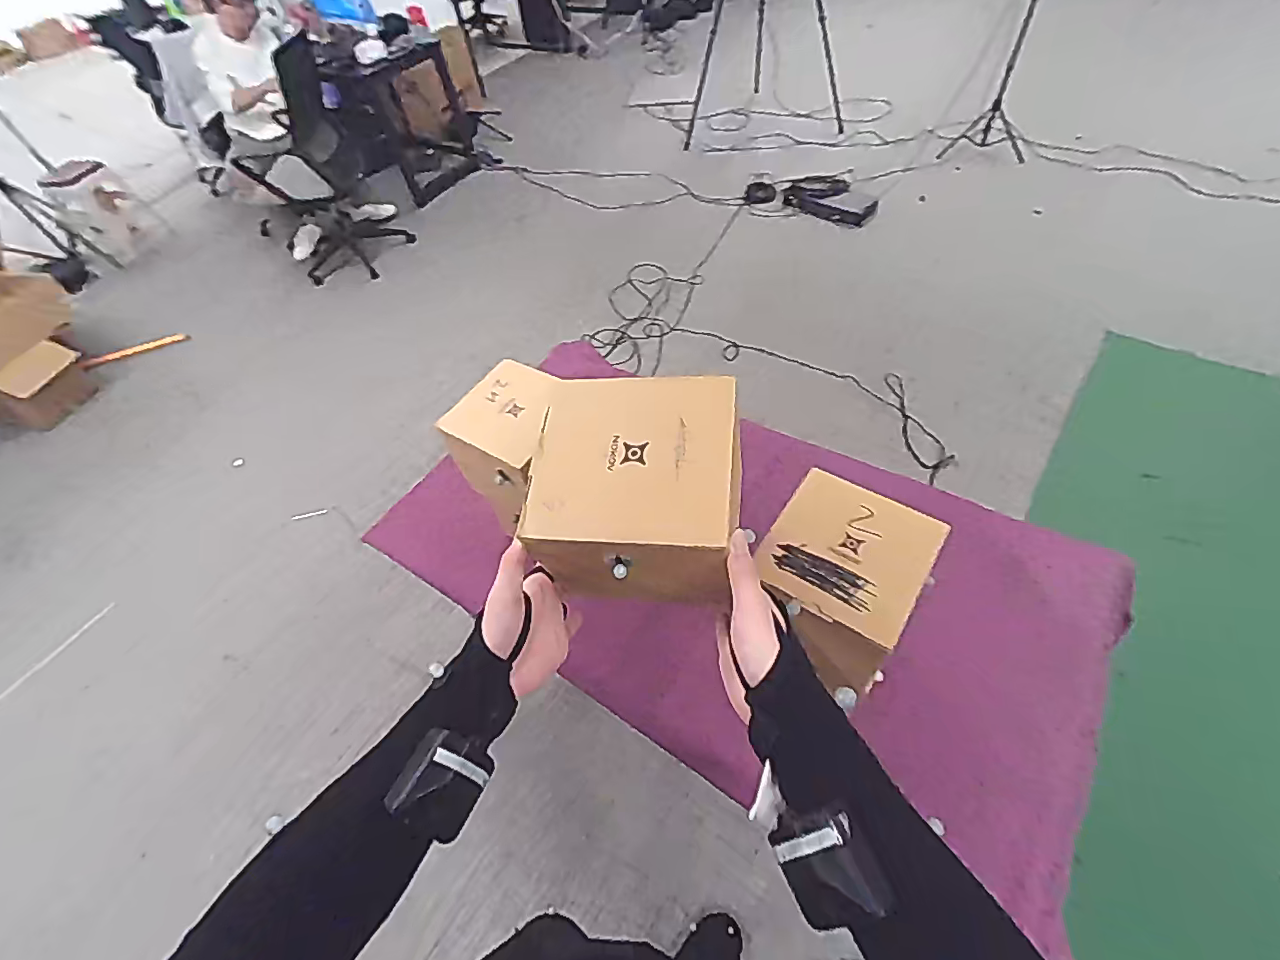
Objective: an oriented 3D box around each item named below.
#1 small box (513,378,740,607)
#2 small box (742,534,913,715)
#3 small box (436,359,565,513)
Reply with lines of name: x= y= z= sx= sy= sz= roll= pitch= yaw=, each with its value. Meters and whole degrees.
small box: x=0.004 y=0.019 z=0.530 sx=0.179 sy=0.176 sz=0.168 roll=1 pitch=61 yaw=13
small box: x=0.264 y=0.218 z=0.799 sx=0.179 sy=0.176 sz=0.168 roll=28 pitch=62 yaw=25
small box: x=-0.177 y=-0.056 z=0.858 sx=0.179 sy=0.176 sz=0.168 roll=25 pitch=60 yaw=24
